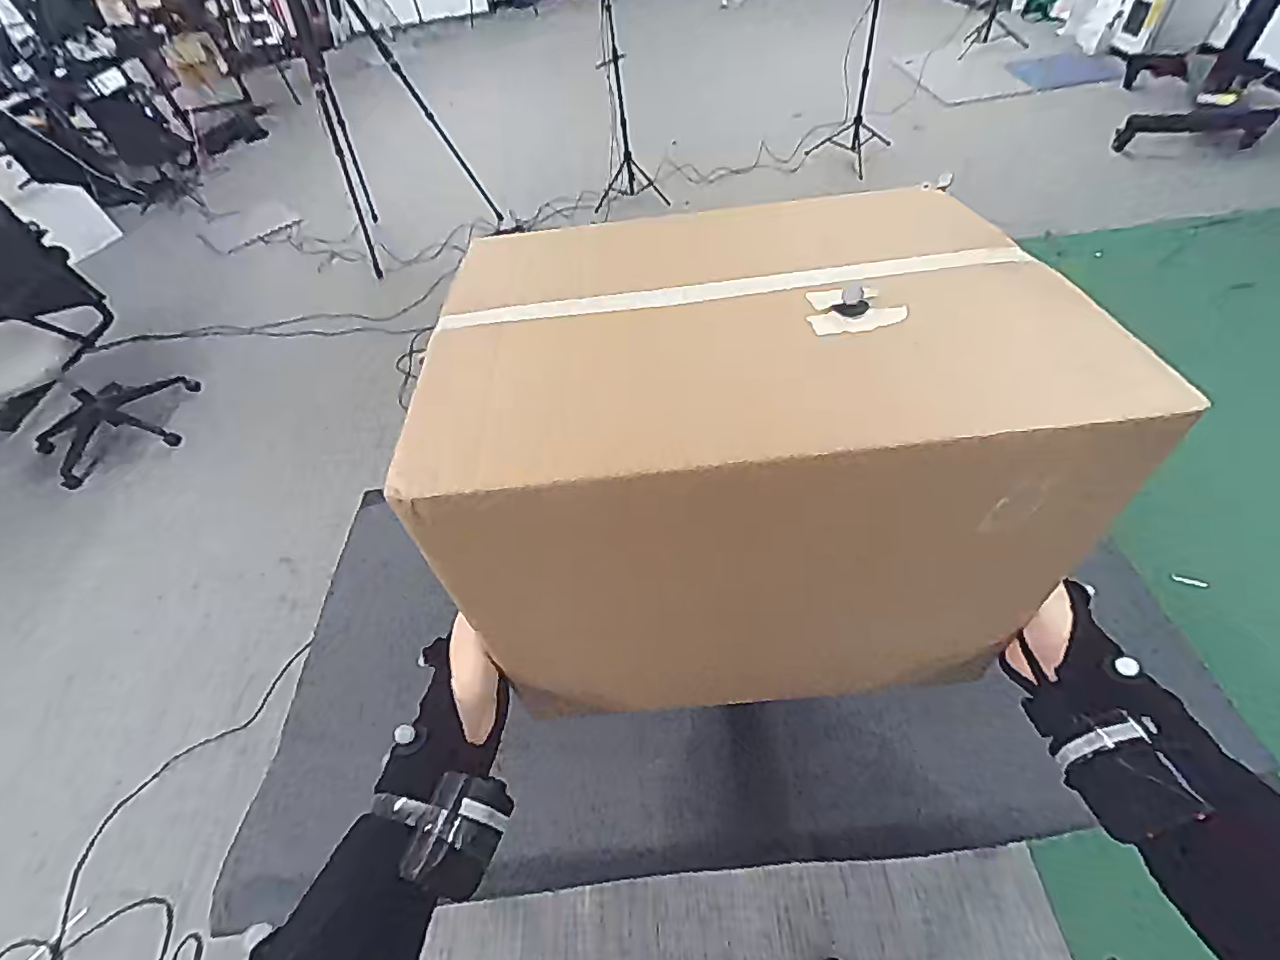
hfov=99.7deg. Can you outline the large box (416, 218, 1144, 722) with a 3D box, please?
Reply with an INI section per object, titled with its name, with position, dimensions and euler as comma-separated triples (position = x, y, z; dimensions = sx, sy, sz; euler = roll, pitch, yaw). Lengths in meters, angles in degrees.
[large box]
position = 0.075, -0.006, 0.497
dimensions = 0.408, 0.320, 0.320
euler = -6, 47, 1
